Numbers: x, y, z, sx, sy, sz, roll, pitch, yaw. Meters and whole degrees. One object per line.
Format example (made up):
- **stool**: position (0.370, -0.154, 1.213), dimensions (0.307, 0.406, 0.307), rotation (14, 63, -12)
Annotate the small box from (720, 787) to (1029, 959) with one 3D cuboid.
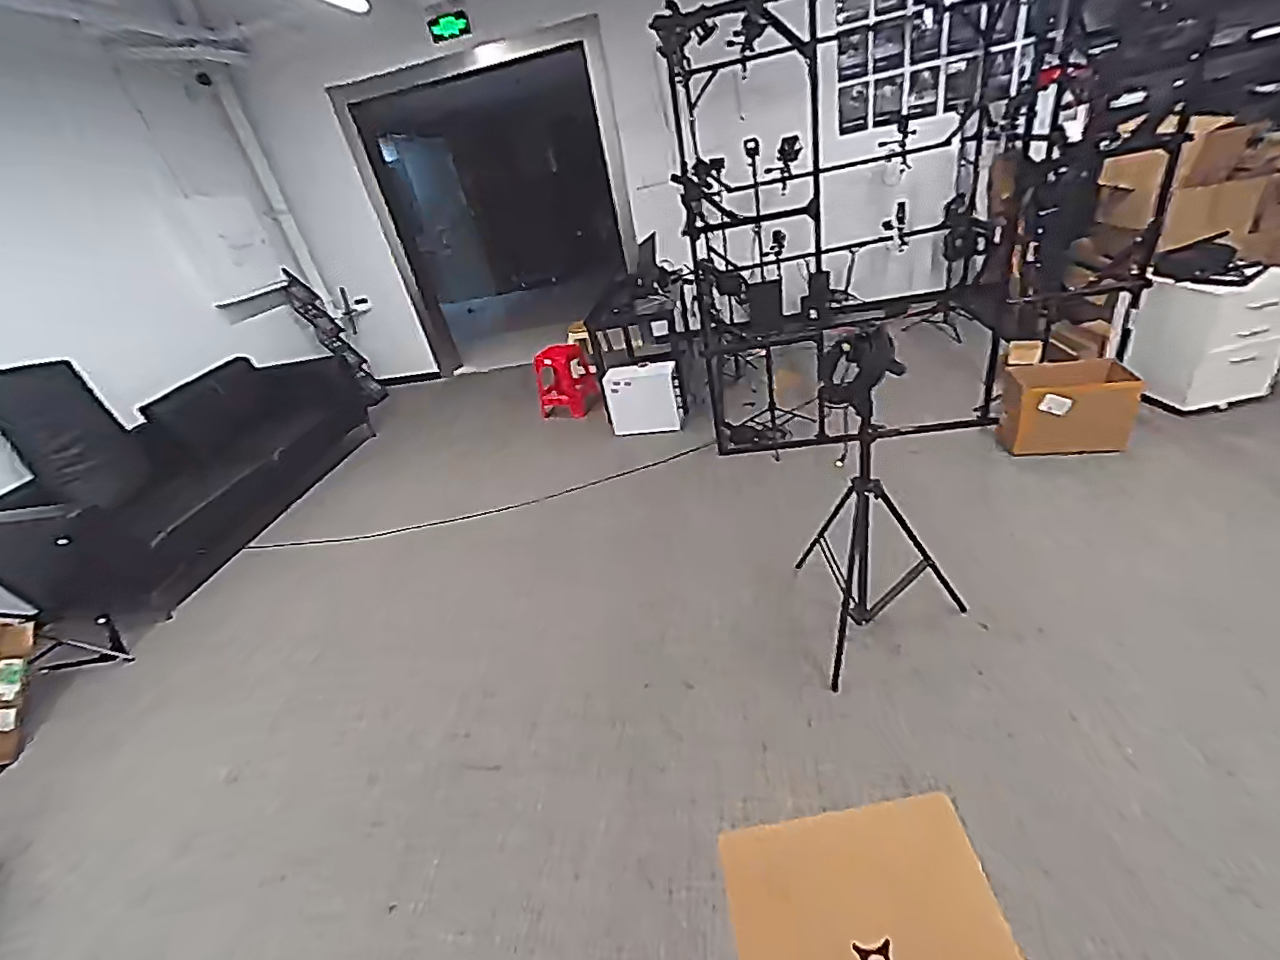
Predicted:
- **small box**: position (0.159, 0.344, 0.370), dimensions (0.168, 0.176, 0.179), rotation (-14, 42, 5)
